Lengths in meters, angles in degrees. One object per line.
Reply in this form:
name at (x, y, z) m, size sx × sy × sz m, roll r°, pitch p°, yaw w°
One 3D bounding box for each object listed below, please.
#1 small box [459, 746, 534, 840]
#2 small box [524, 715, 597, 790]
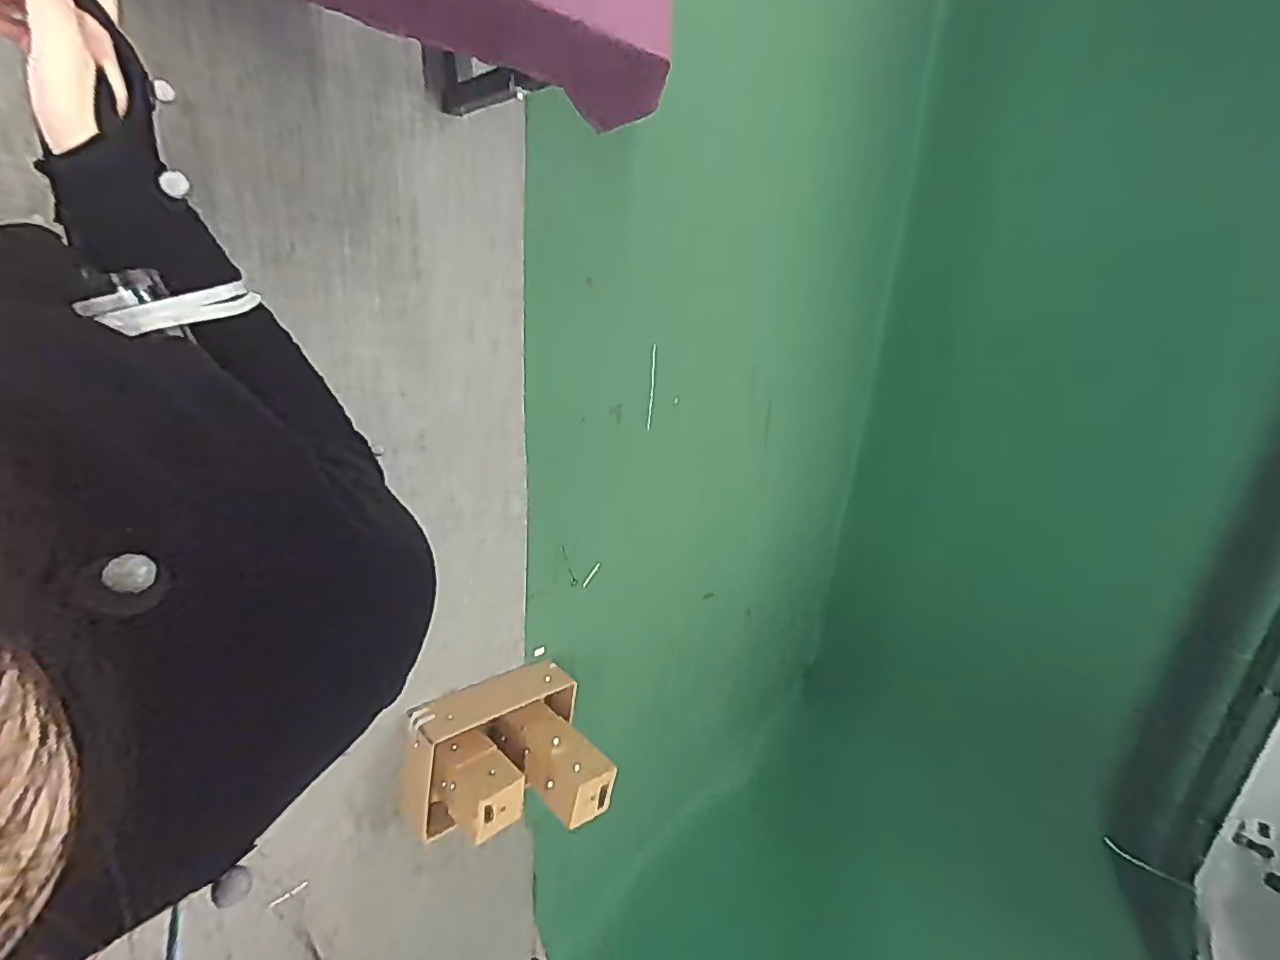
small box at (-0.477, 1.025, 1.784) m, size 0.179 × 0.176 × 0.168 m, roll -7°, pitch 109°, yaw -48°
small box at (-0.293, 0.986, 1.976) m, size 0.179 × 0.176 × 0.168 m, roll 11°, pitch 97°, yaw -46°
